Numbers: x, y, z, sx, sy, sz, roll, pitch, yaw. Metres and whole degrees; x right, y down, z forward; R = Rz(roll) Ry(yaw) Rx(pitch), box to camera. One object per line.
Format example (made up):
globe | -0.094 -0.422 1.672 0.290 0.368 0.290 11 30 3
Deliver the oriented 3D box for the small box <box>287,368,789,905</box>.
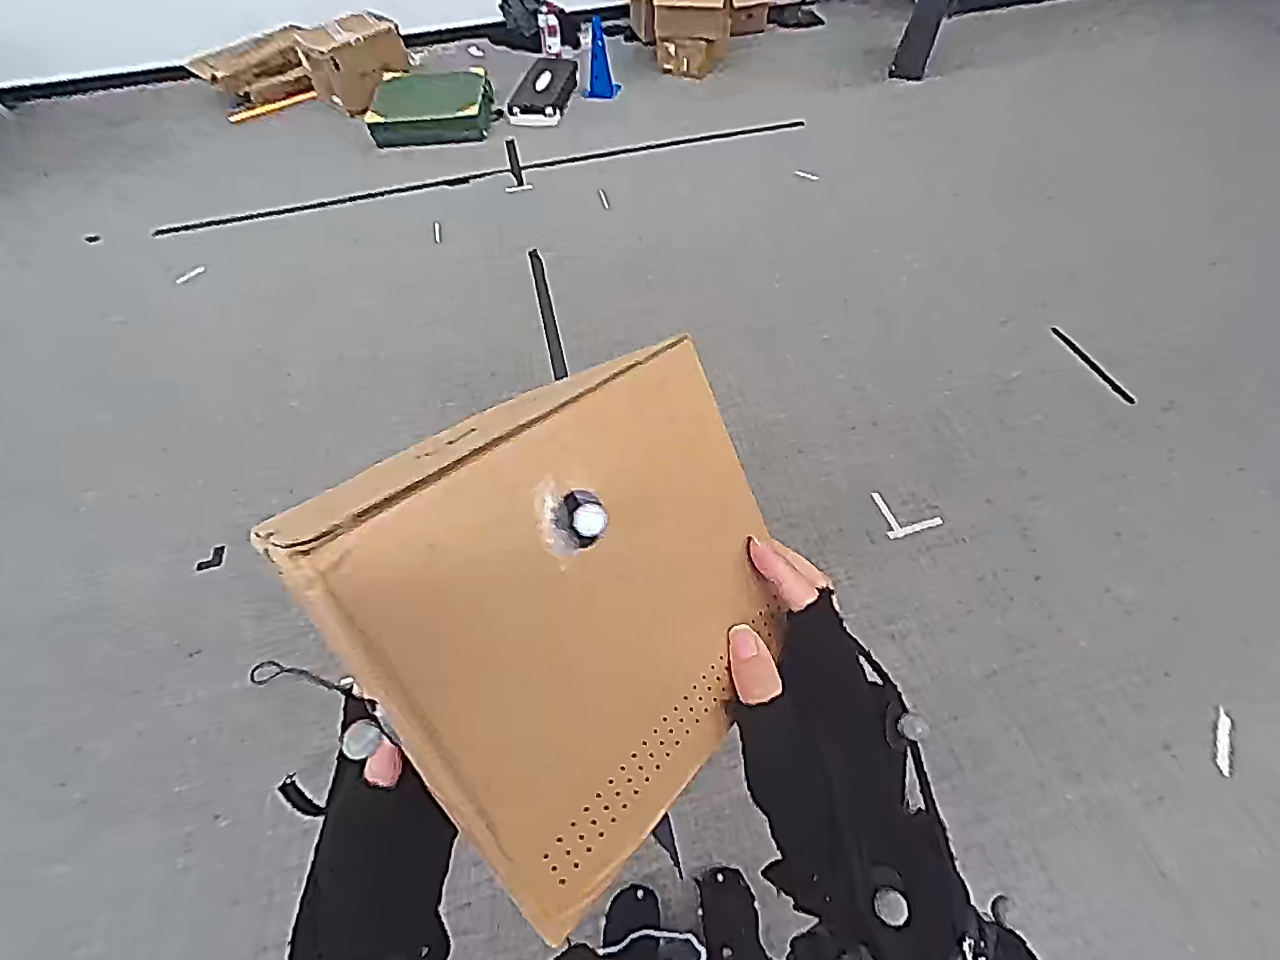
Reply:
small box | -0.047 0.064 0.291 0.179 0.176 0.168 -35 19 -35
